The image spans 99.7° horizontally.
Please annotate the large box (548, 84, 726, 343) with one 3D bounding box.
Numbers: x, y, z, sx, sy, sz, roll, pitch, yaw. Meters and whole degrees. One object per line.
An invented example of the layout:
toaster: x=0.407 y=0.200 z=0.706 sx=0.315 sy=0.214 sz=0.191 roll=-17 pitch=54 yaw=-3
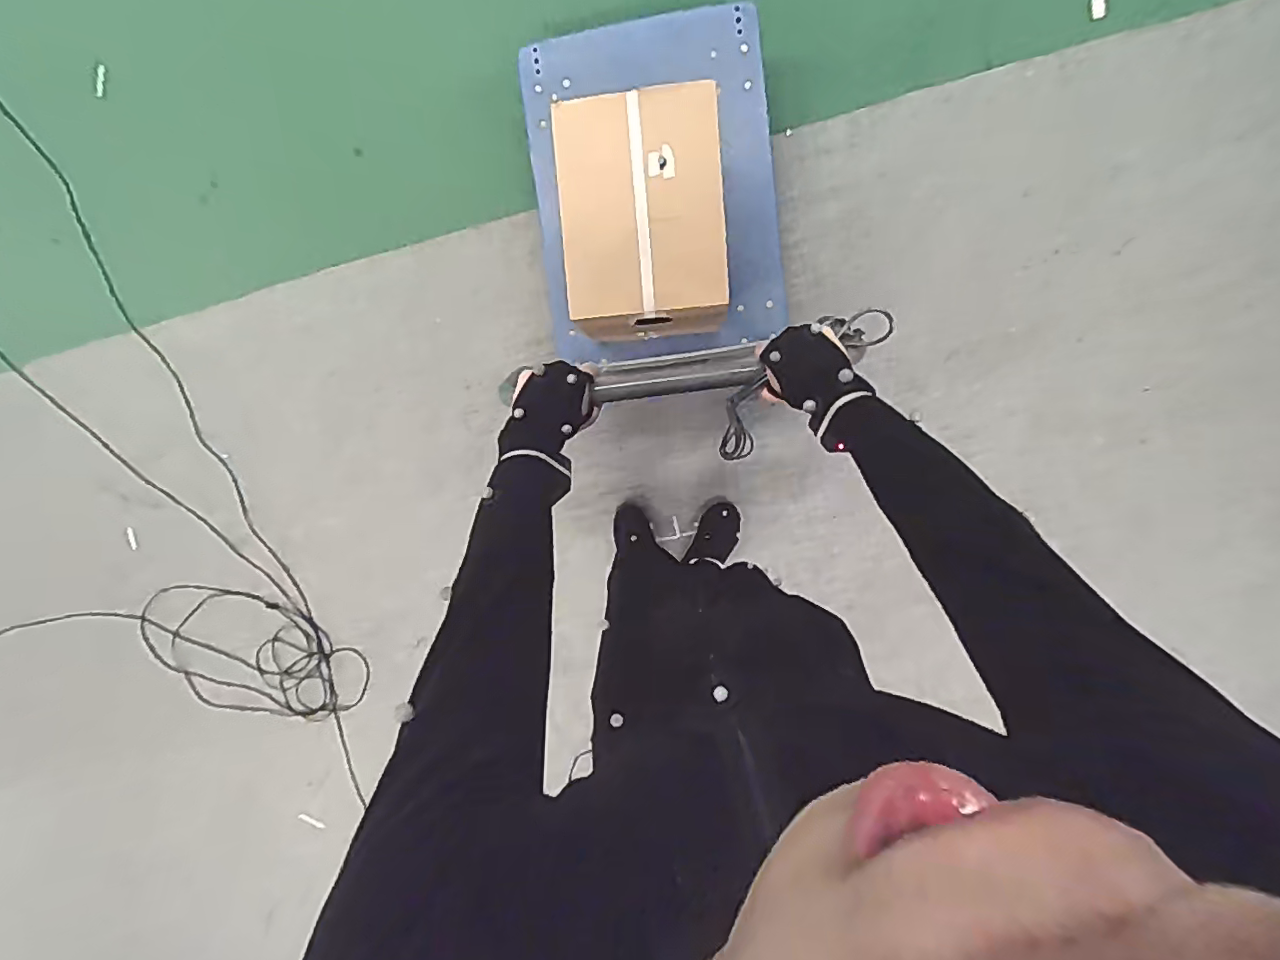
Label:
large box: x=0.008 y=-0.536 z=1.176 sx=0.320 sy=0.320 sz=0.408 roll=-4 pitch=95 yaw=5
